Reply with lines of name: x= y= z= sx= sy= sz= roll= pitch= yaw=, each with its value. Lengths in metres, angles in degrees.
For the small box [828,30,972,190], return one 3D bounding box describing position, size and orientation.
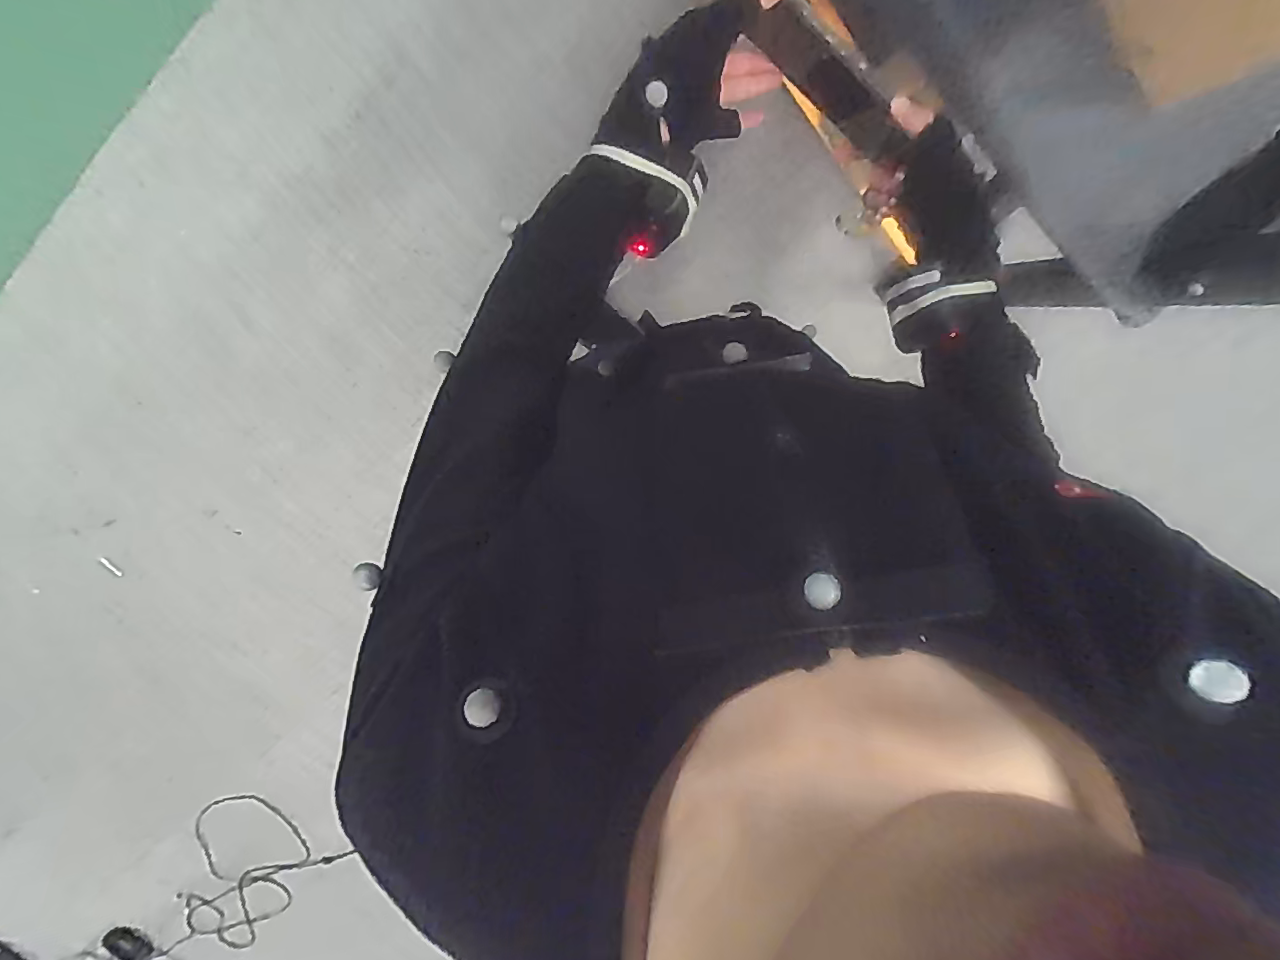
small box: x=0.494 y=-0.707 z=1.063 sx=0.179 sy=0.176 sz=0.168 roll=-37 pitch=104 yaw=12
